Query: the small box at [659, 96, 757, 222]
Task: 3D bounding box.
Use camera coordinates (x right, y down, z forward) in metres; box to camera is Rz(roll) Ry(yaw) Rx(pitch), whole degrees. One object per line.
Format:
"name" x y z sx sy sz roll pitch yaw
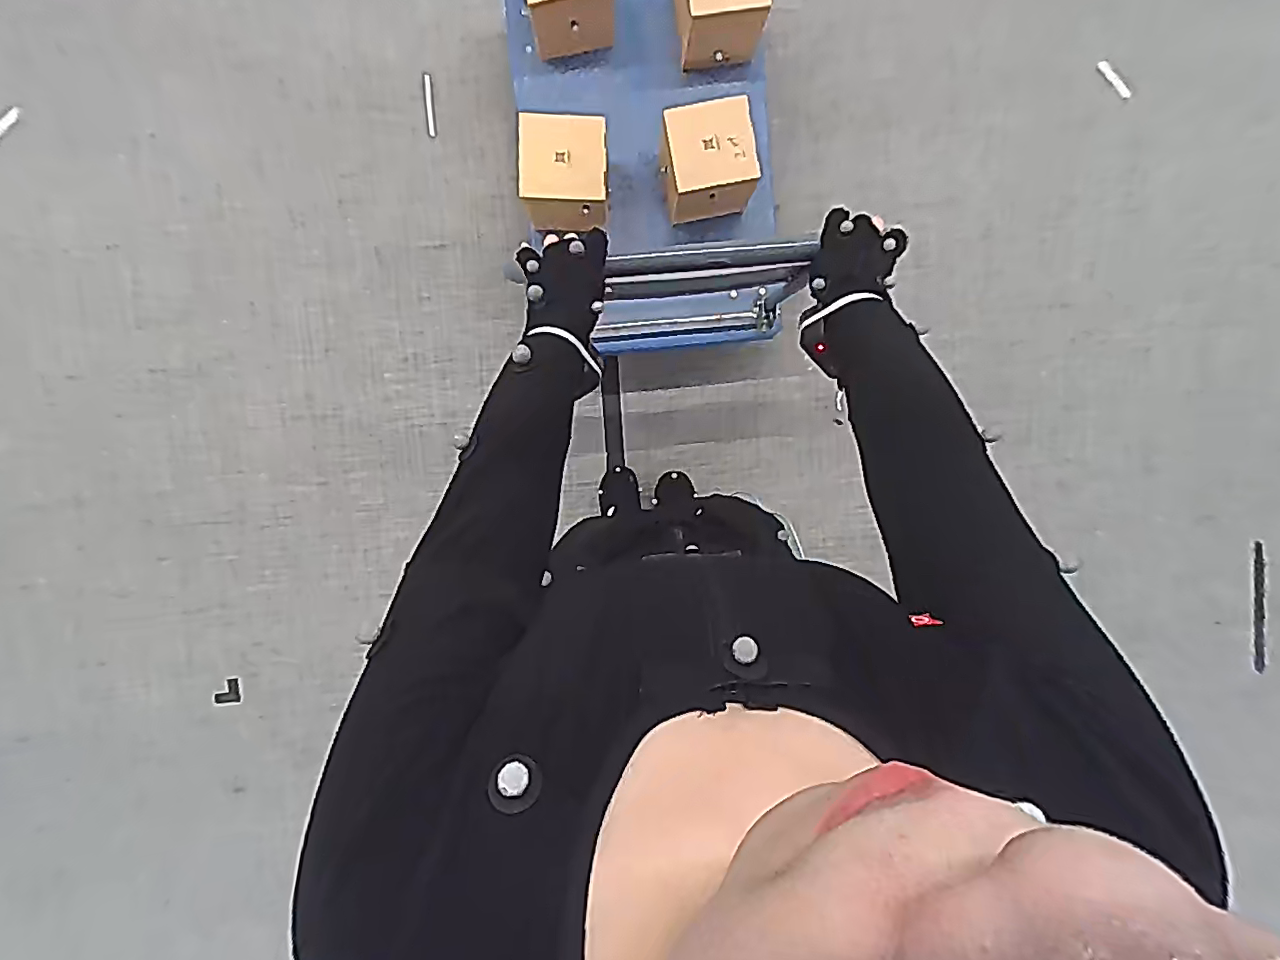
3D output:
"small box" 0.138 -0.679 1.167 0.179 0.176 0.168 -11 95 -1

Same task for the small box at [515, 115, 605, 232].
"small box" -0.165 -0.648 1.161 0.179 0.176 0.168 0 95 -3

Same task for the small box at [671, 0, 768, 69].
"small box" 0.159 -1.017 1.138 0.168 0.176 0.179 -9 96 -1
